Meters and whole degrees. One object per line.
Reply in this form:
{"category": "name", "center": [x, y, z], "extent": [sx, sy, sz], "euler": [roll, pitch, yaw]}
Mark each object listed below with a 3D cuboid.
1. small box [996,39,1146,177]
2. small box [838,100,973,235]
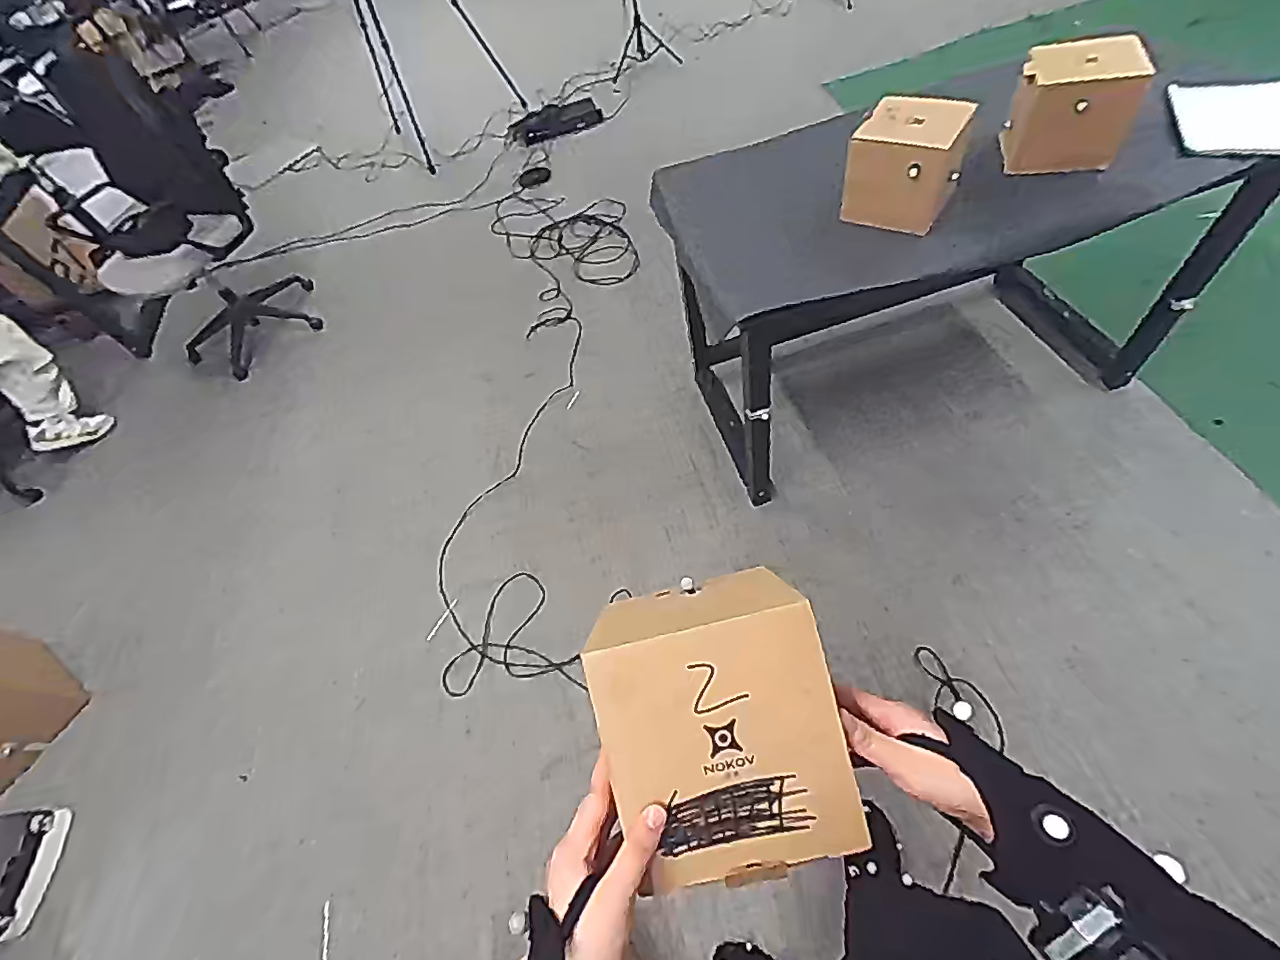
{"category": "small box", "center": [0.838, -0.731, 1.073], "extent": [0.179, 0.176, 0.168], "euler": [6, 58, 18]}
{"category": "small box", "center": [0.514, -0.614, 1.069], "extent": [0.179, 0.176, 0.168], "euler": [26, 65, 26]}
